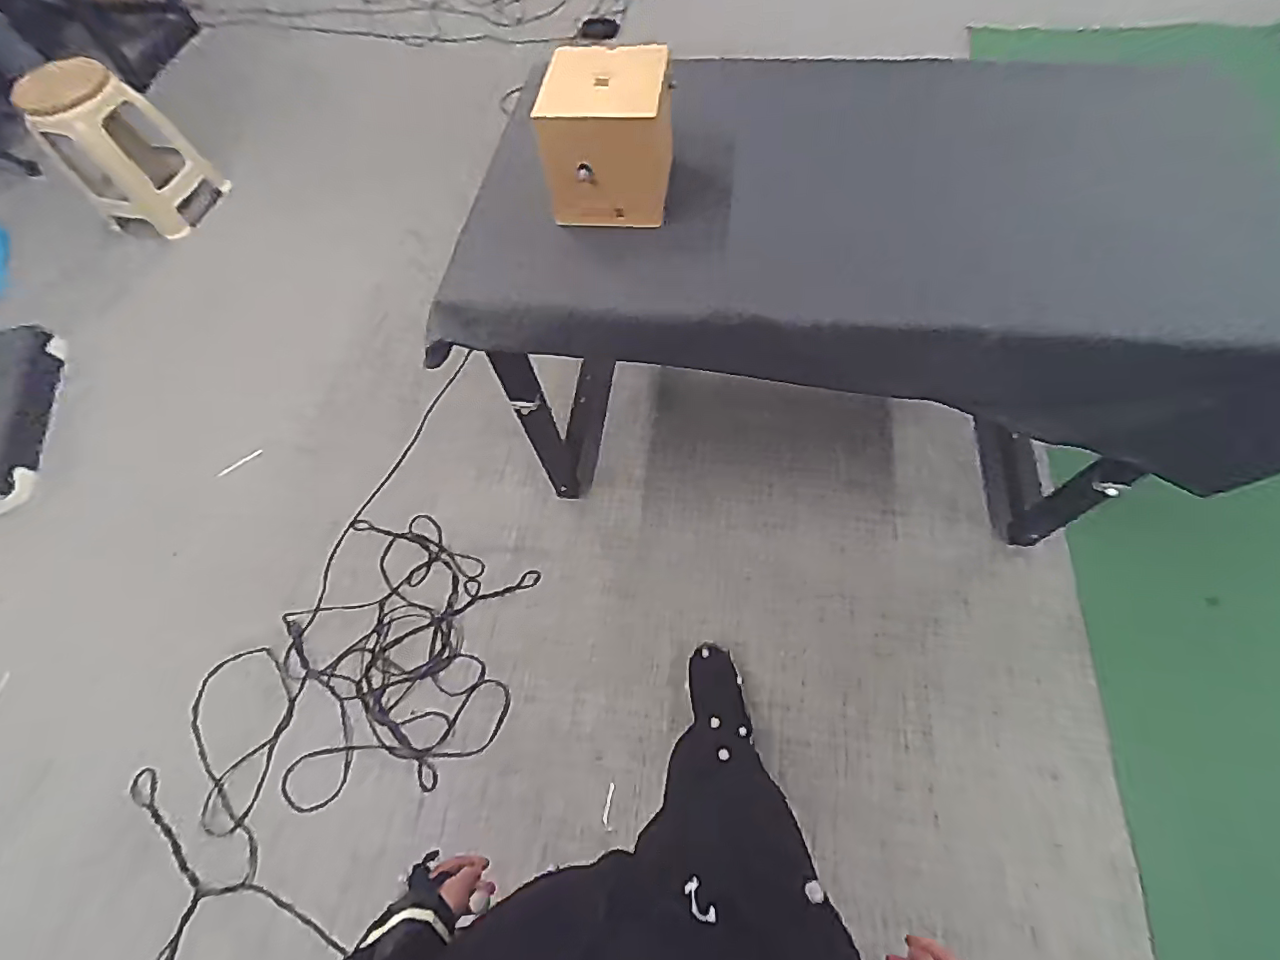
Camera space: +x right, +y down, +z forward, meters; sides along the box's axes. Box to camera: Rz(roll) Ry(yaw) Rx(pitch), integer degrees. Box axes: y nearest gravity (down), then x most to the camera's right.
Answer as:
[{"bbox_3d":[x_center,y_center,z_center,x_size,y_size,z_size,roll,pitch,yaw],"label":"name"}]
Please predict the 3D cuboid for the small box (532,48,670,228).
[{"bbox_3d":[-0.045,-0.498,0.803,0.168,0.176,0.179,4,62,7],"label":"small box"}]
